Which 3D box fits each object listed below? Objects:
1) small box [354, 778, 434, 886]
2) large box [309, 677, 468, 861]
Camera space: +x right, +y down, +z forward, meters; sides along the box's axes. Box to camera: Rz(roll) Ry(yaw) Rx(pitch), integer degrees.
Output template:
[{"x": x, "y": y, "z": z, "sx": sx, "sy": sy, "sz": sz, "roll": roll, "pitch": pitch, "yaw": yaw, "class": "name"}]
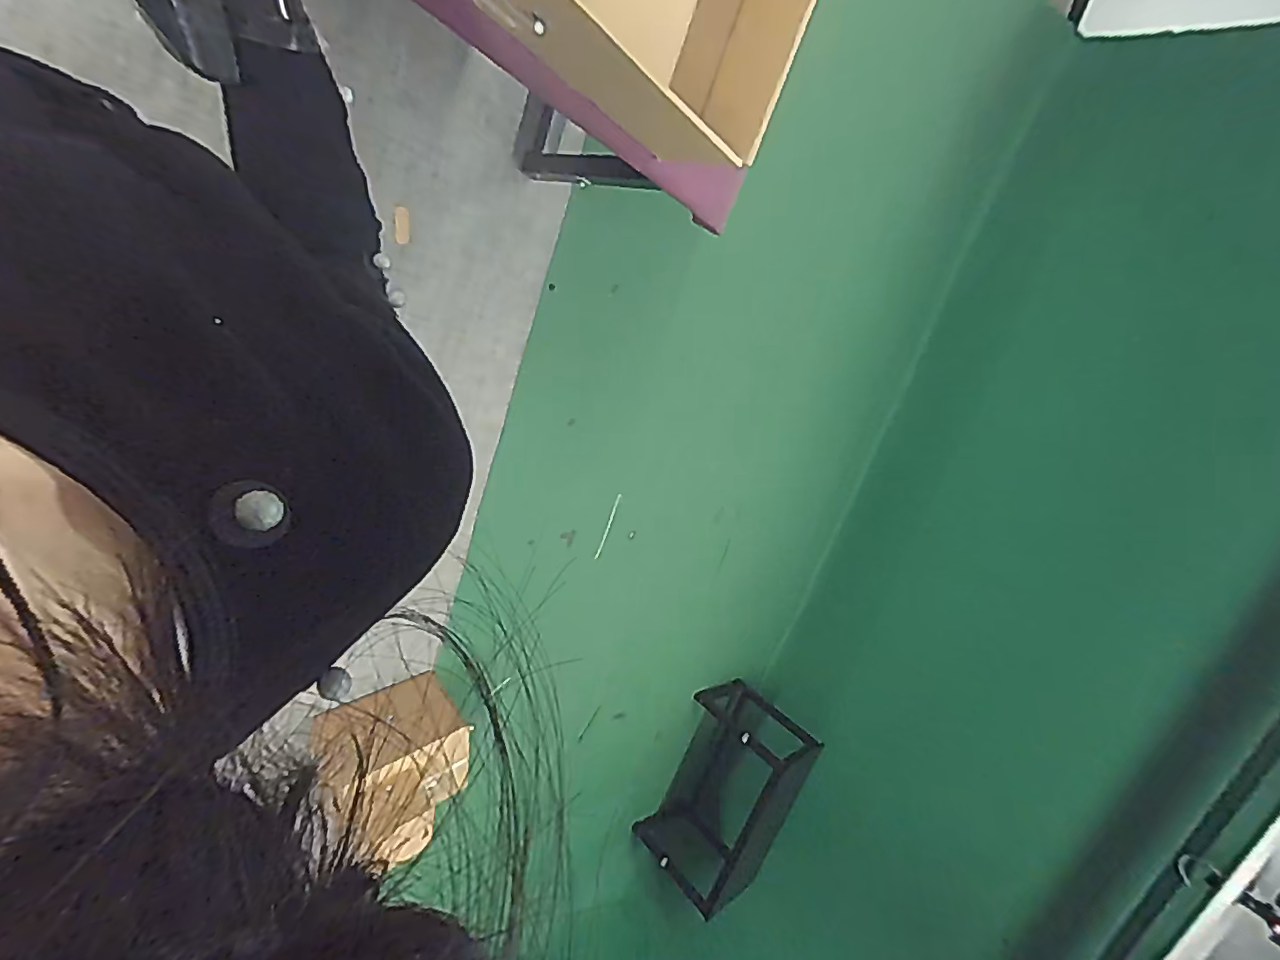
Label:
[{"x": -0.740, "y": 1.044, "z": 1.617, "sx": 0.179, "sy": 0.176, "sz": 0.168, "roll": -7, "pitch": 117, "yaw": -44, "class": "small box"}, {"x": -0.846, "y": 0.952, "z": 1.837, "sx": 0.408, "sy": 0.320, "sz": 0.320, "roll": -14, "pitch": 123, "yaw": -43, "class": "large box"}]
